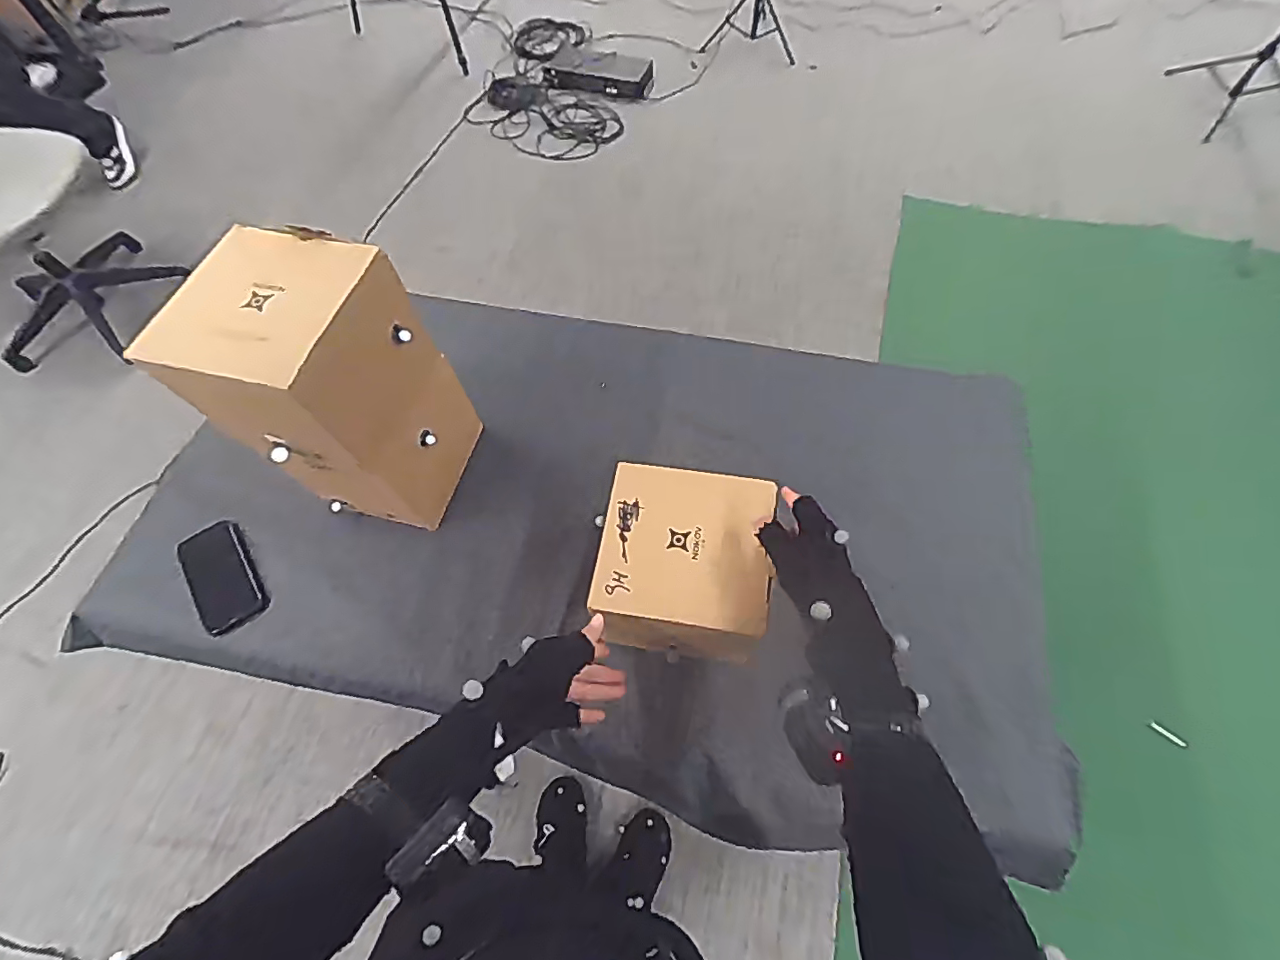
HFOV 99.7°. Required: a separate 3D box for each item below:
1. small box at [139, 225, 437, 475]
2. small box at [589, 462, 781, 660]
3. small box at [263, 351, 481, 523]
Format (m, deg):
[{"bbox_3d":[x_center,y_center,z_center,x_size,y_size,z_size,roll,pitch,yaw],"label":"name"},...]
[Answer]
[{"bbox_3d":[-0.339,-0.130,0.570,0.168,0.176,0.179,11,65,9],"label":"small box"},{"bbox_3d":[0.053,0.101,0.619,0.179,0.176,0.168,8,63,7],"label":"small box"},{"bbox_3d":[-0.333,-0.062,0.717,0.168,0.176,0.179,13,63,8],"label":"small box"}]
